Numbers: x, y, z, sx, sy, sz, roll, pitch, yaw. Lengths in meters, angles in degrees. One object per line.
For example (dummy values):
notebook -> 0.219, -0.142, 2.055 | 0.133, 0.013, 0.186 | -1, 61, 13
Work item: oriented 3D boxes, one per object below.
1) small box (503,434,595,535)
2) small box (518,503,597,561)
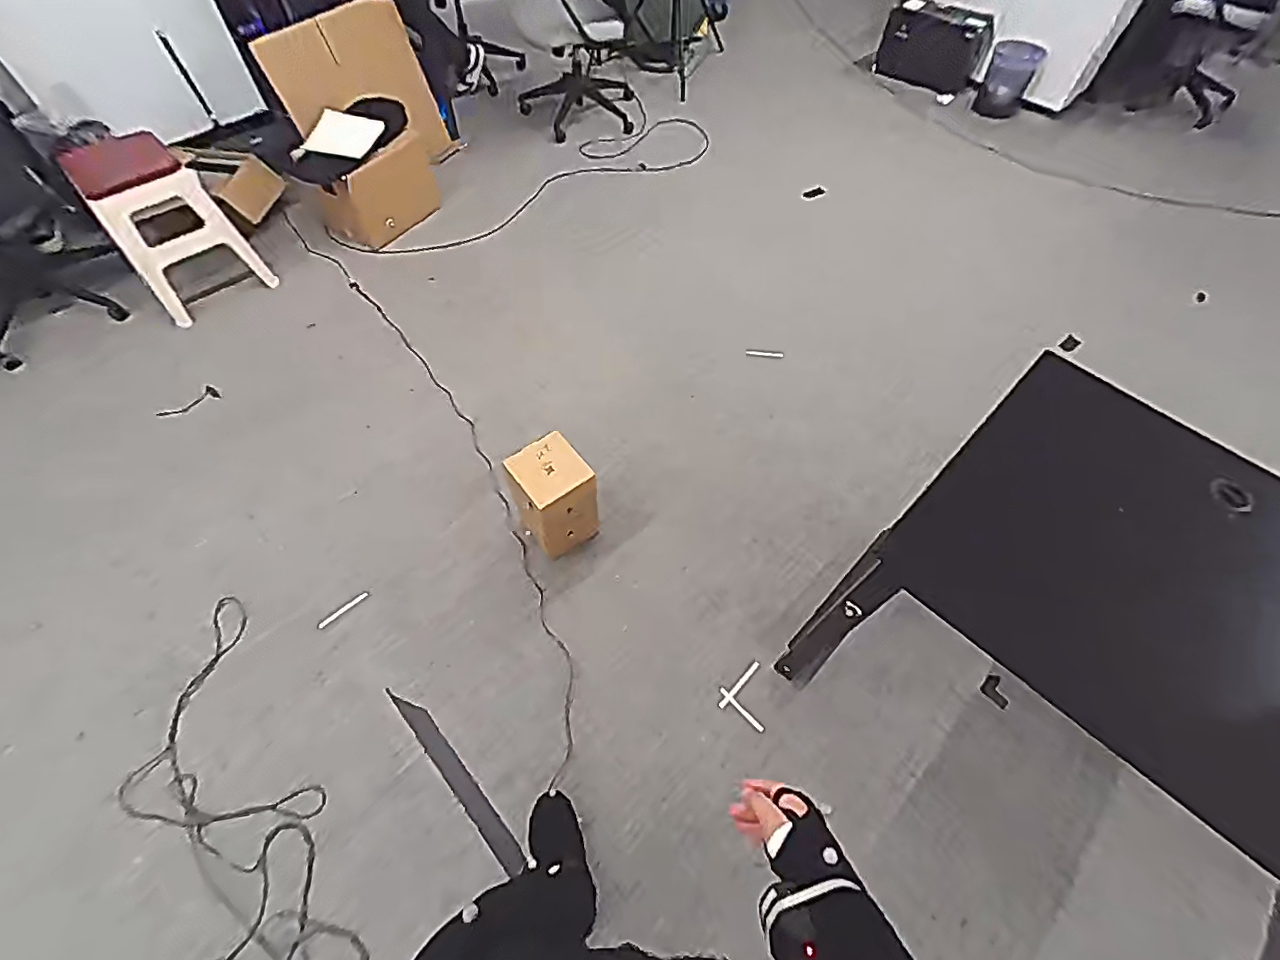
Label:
small box -> -0.229, 0.021, 1.405 | 0.168, 0.176, 0.179 | -33, 64, -22
small box -> -0.237, 0.099, 1.550 | 0.179, 0.176, 0.168 | -31, 63, -19
